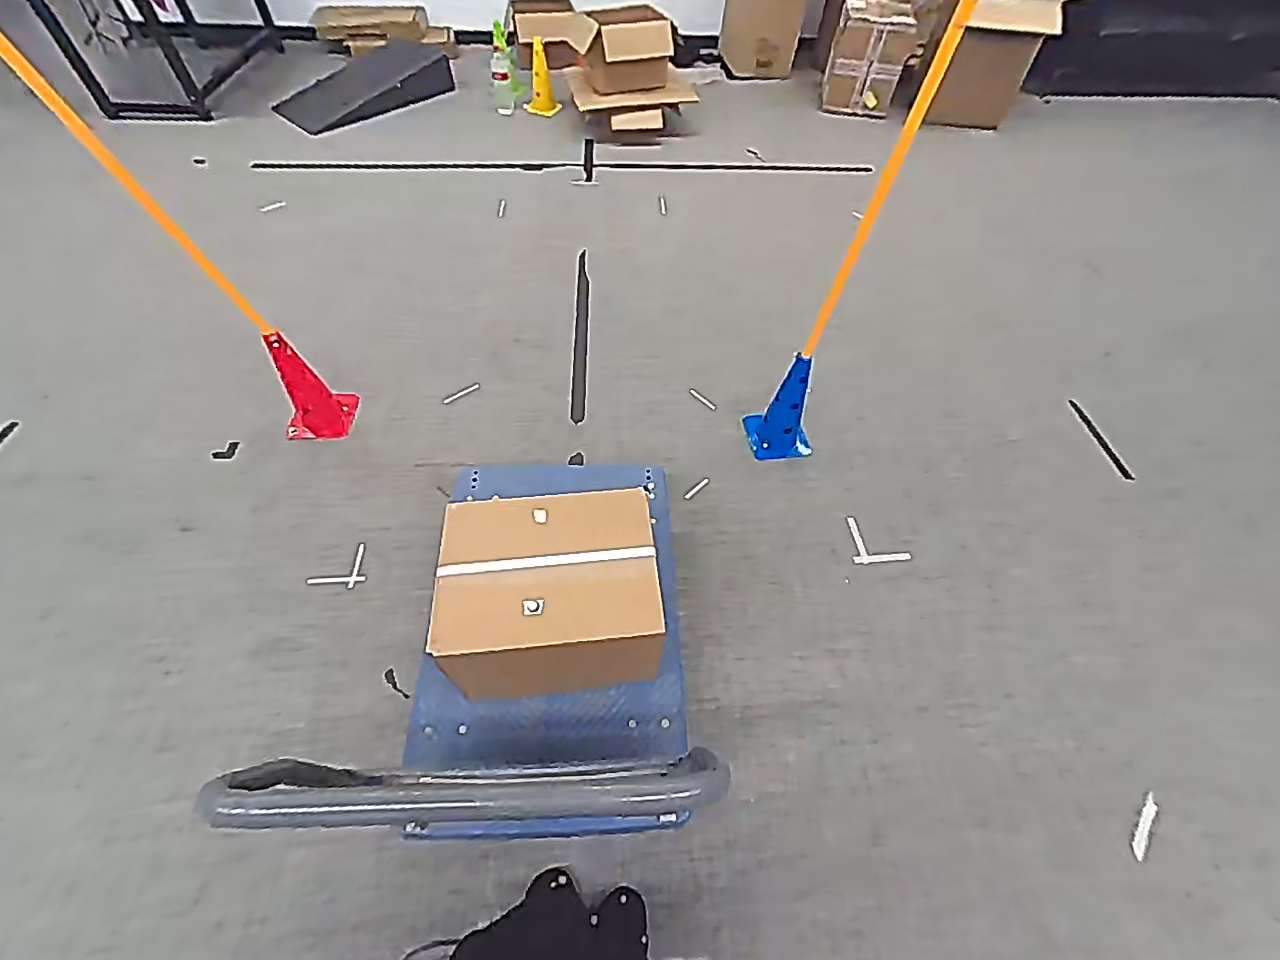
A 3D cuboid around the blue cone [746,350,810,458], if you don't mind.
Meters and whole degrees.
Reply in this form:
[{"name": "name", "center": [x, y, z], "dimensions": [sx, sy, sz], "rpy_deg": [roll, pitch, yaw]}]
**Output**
[{"name": "blue cone", "center": [0.477, -0.251, 1.727], "dimensions": [0.193, 0.380, 0.192], "rpy_deg": [-4, 53, -6]}]
